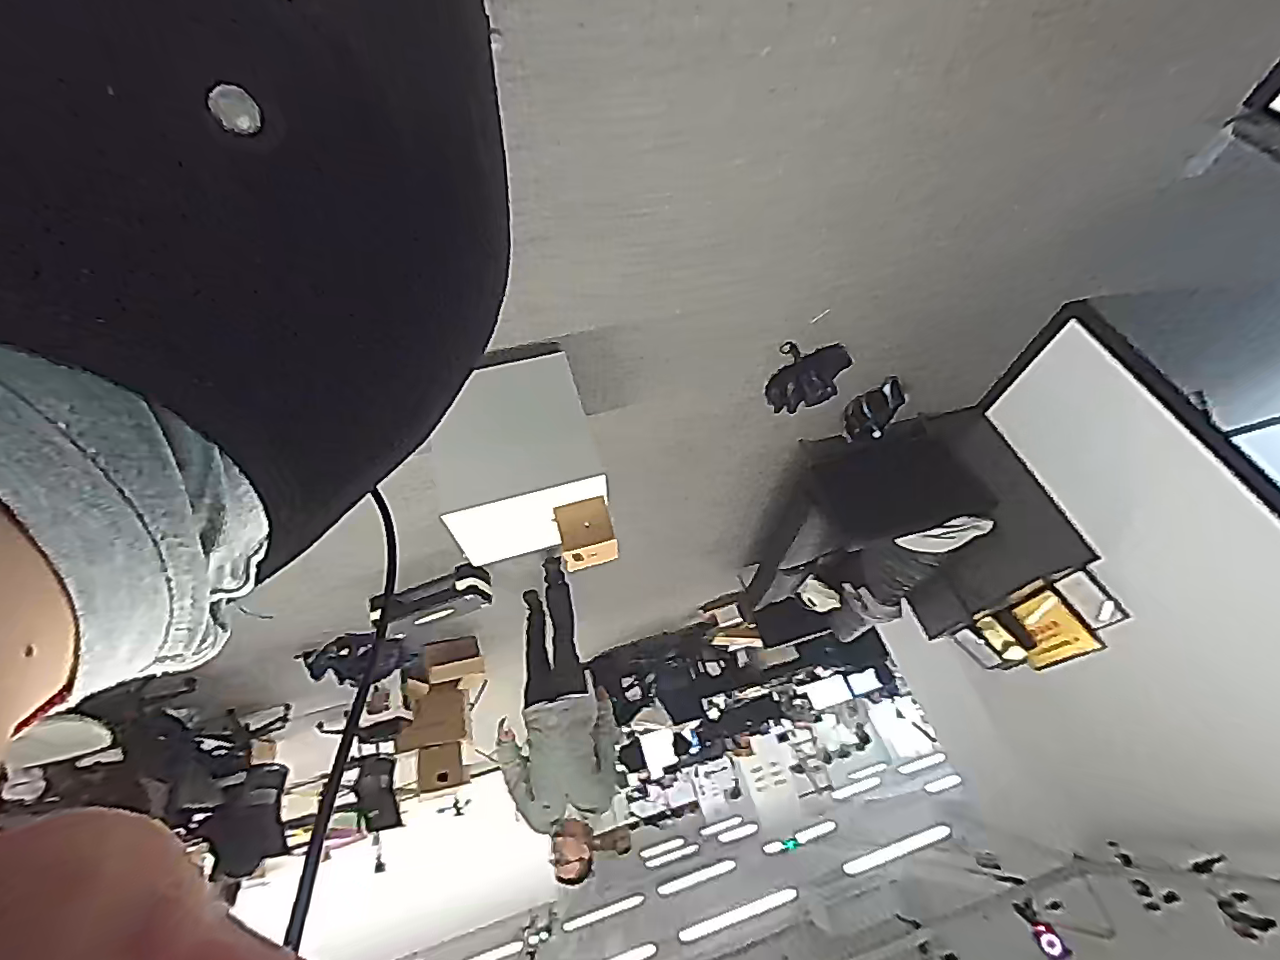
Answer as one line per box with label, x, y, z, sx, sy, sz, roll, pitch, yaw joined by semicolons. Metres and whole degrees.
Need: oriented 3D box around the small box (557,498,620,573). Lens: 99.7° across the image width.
small box;-0.175;0.184;1.808;0.179;0.176;0.168;-16;151;-9
